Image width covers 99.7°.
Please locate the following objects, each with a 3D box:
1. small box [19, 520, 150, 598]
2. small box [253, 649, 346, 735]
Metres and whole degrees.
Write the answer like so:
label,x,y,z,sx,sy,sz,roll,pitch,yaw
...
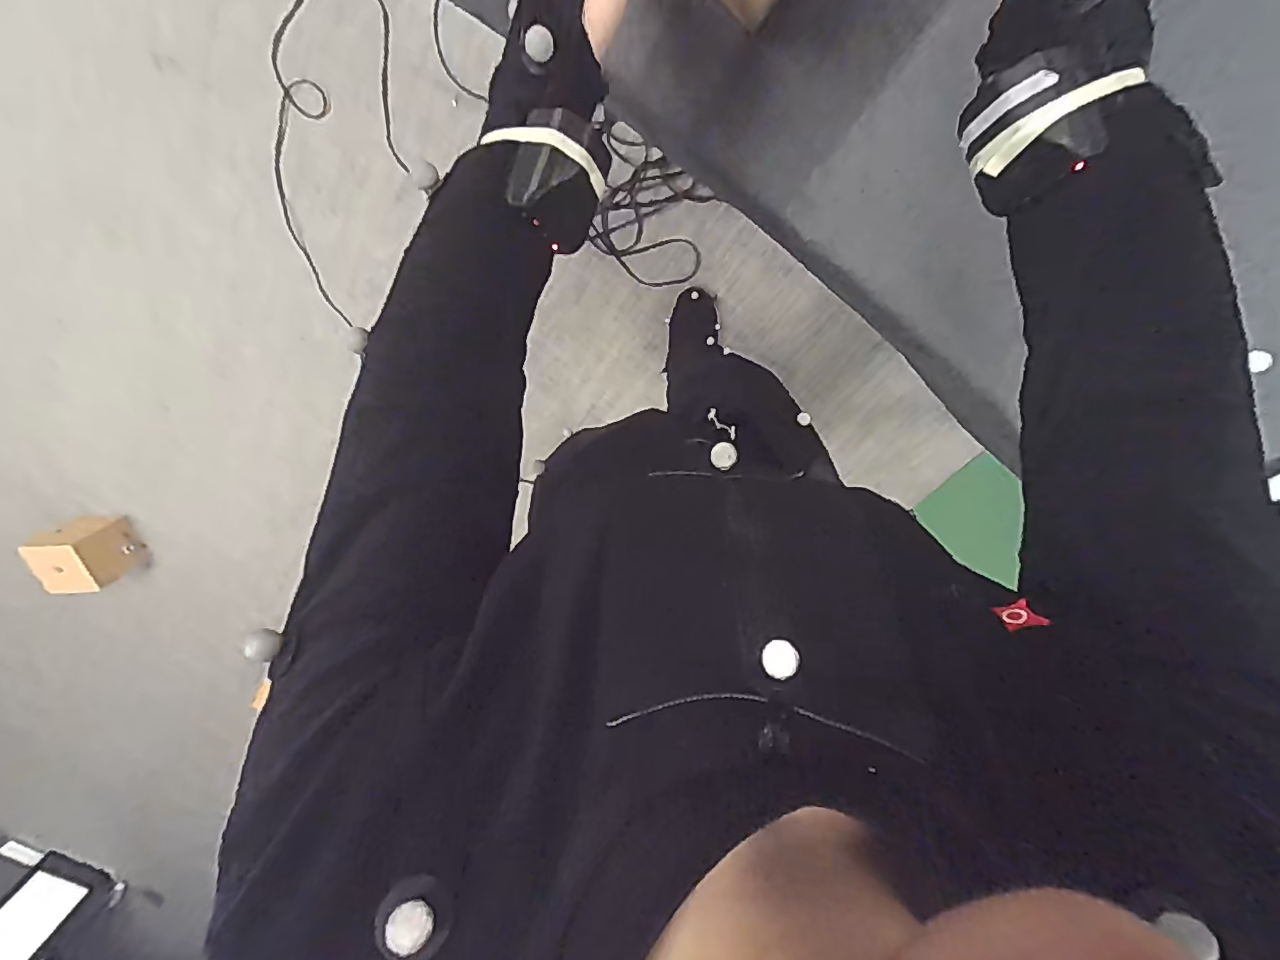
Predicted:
label,x,y,z,sx,sy,sz,roll,pitch,yaw
small box,-1.631,0.231,1.599,0.179,0.176,0.168,-4,116,6
small box,-1.104,0.688,1.767,0.179,0.176,0.168,33,114,-10
